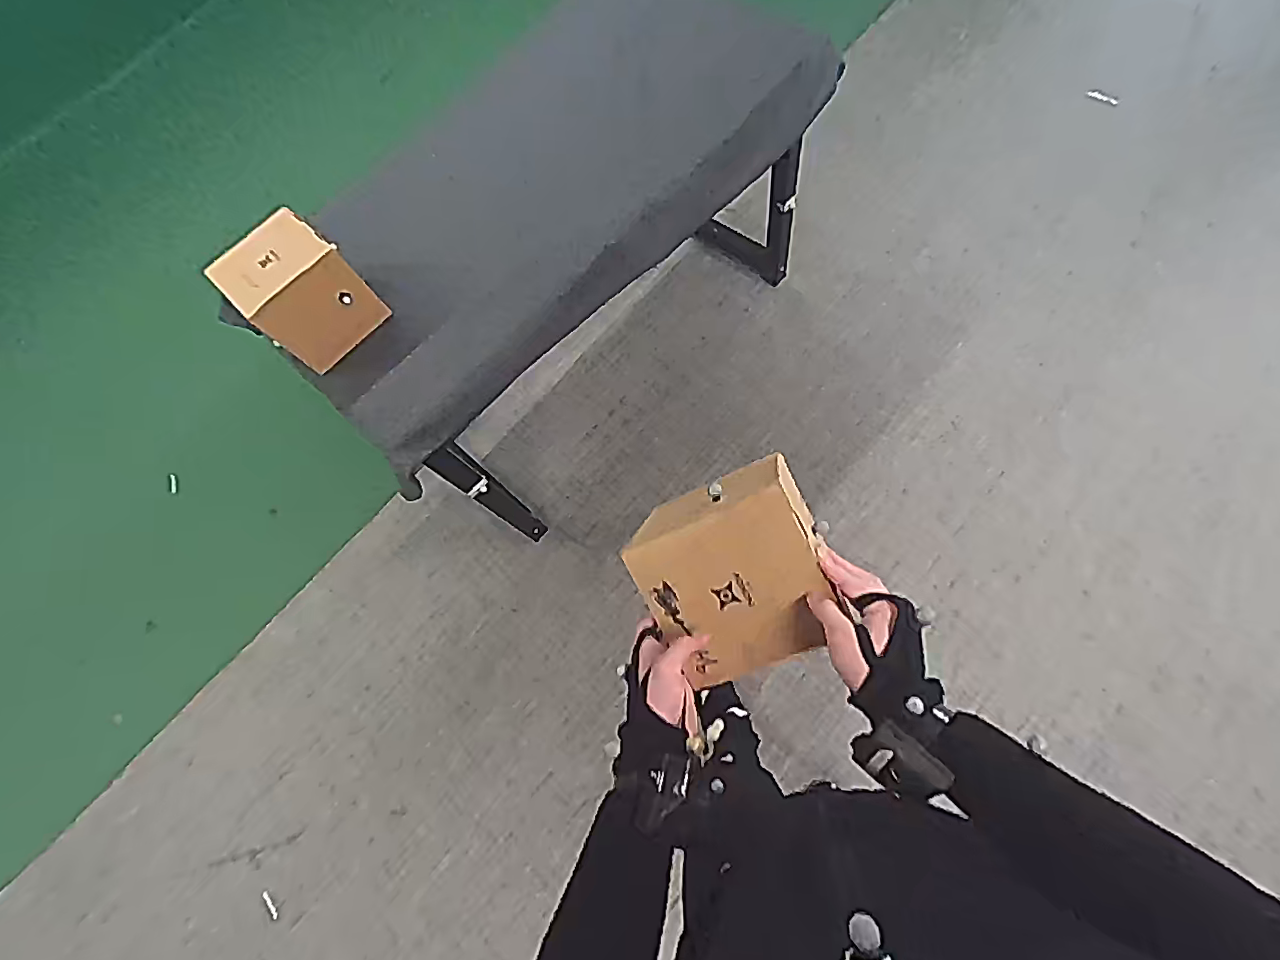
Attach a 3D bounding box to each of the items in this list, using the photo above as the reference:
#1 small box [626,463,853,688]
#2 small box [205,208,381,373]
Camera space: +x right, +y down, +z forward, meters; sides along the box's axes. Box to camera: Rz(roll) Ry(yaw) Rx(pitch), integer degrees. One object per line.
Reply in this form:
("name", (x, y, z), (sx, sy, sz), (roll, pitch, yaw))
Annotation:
("small box", (0.110, 0.094, 0.606), (0.179, 0.176, 0.168), (-25, 94, 16))
("small box", (-0.591, -0.326, 0.949), (0.179, 0.176, 0.168), (-44, 66, -9))
